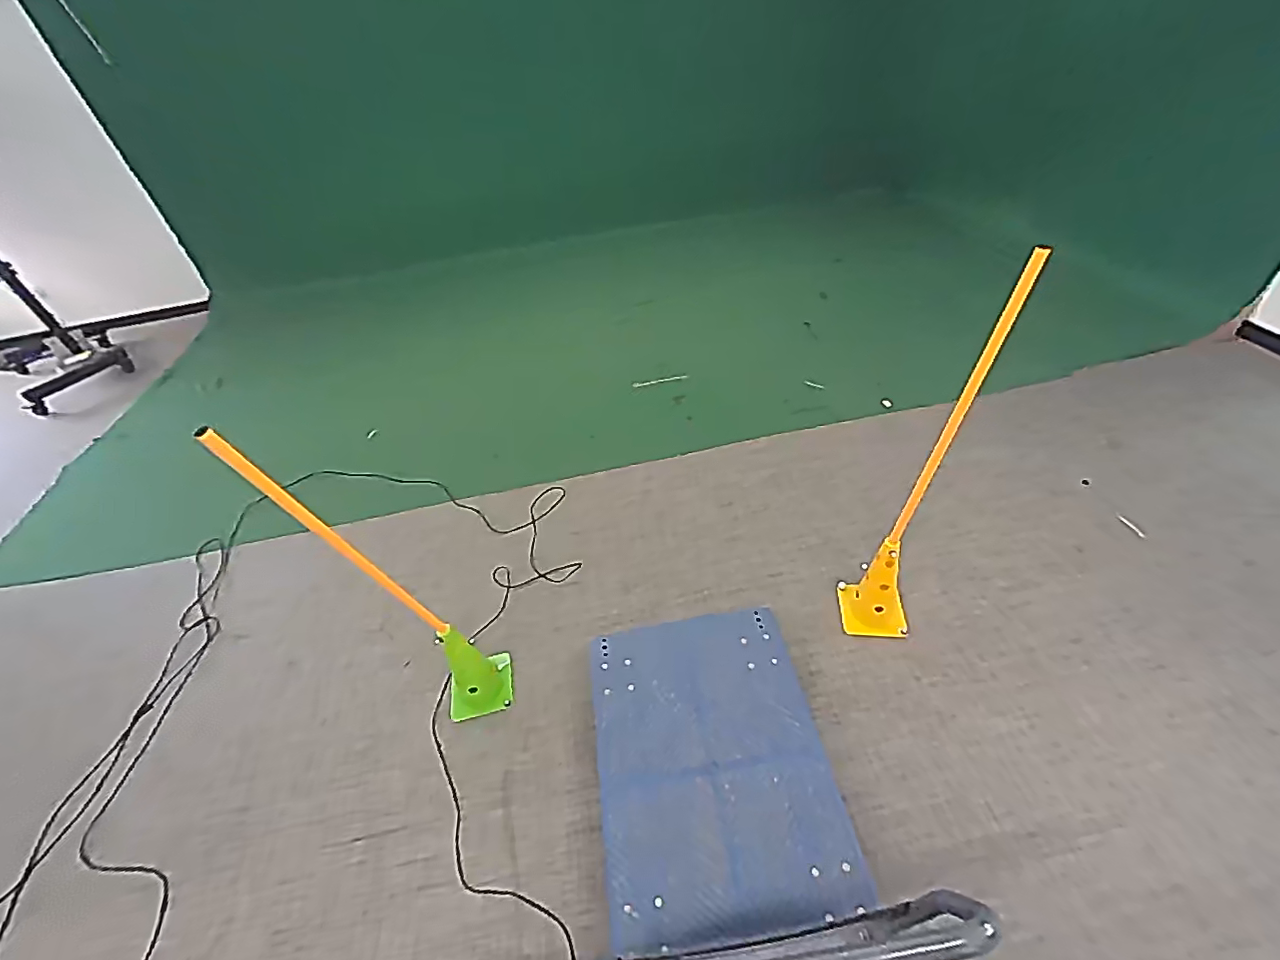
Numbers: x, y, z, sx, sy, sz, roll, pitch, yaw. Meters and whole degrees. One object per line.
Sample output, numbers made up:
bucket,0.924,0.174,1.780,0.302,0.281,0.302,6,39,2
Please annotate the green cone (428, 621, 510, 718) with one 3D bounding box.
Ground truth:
green cone,-0.555,0.543,1.663,0.202,0.368,0.200,-15,43,-4
